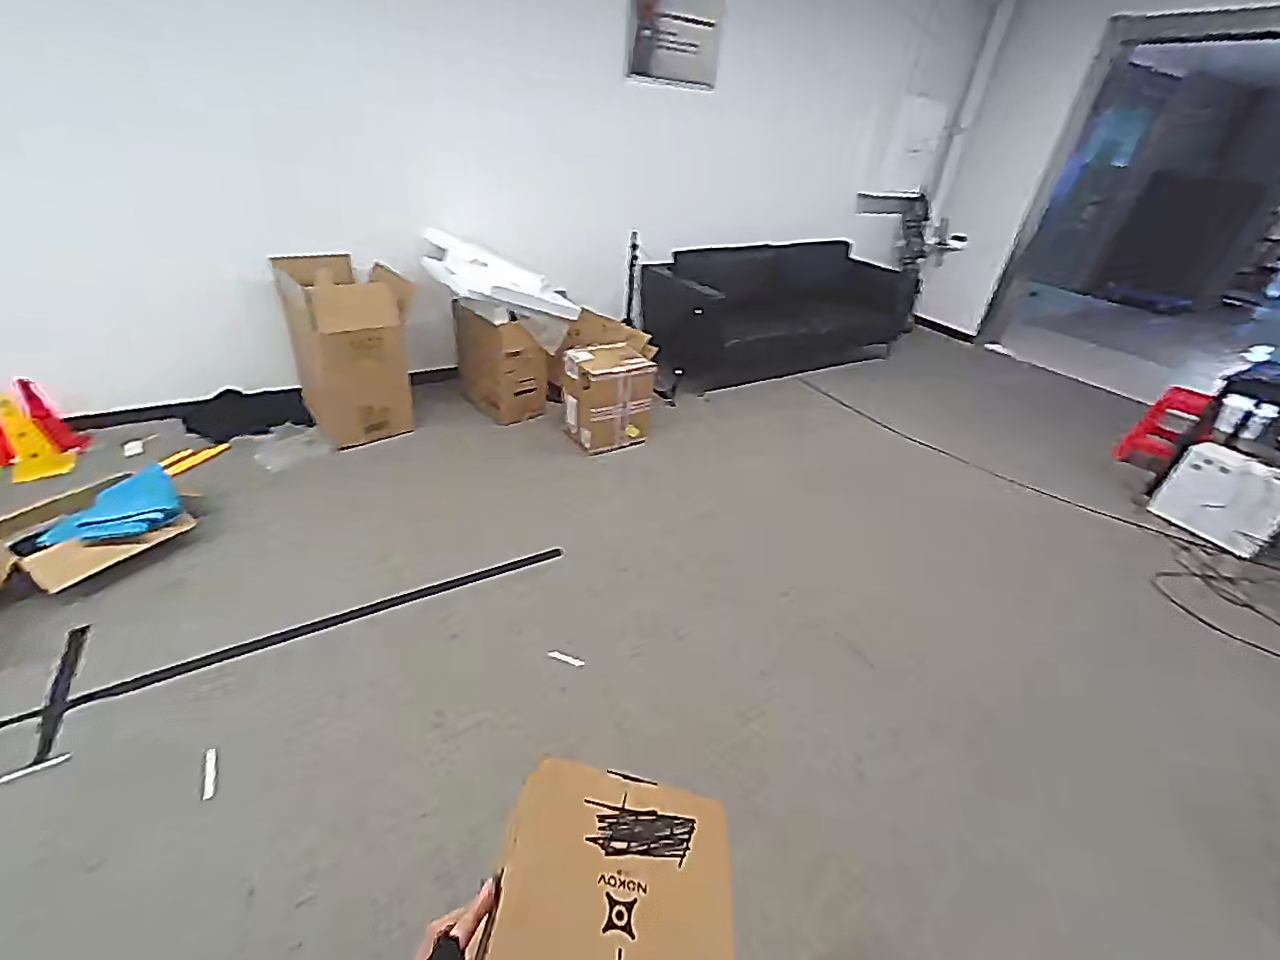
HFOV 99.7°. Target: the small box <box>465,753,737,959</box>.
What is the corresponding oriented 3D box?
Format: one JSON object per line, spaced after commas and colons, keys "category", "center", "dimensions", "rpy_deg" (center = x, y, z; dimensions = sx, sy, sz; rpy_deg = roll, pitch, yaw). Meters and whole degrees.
{"category": "small box", "center": [-0.039, 0.350, 0.405], "dimensions": [0.168, 0.176, 0.179], "rpy_deg": [18, 28, -7]}
